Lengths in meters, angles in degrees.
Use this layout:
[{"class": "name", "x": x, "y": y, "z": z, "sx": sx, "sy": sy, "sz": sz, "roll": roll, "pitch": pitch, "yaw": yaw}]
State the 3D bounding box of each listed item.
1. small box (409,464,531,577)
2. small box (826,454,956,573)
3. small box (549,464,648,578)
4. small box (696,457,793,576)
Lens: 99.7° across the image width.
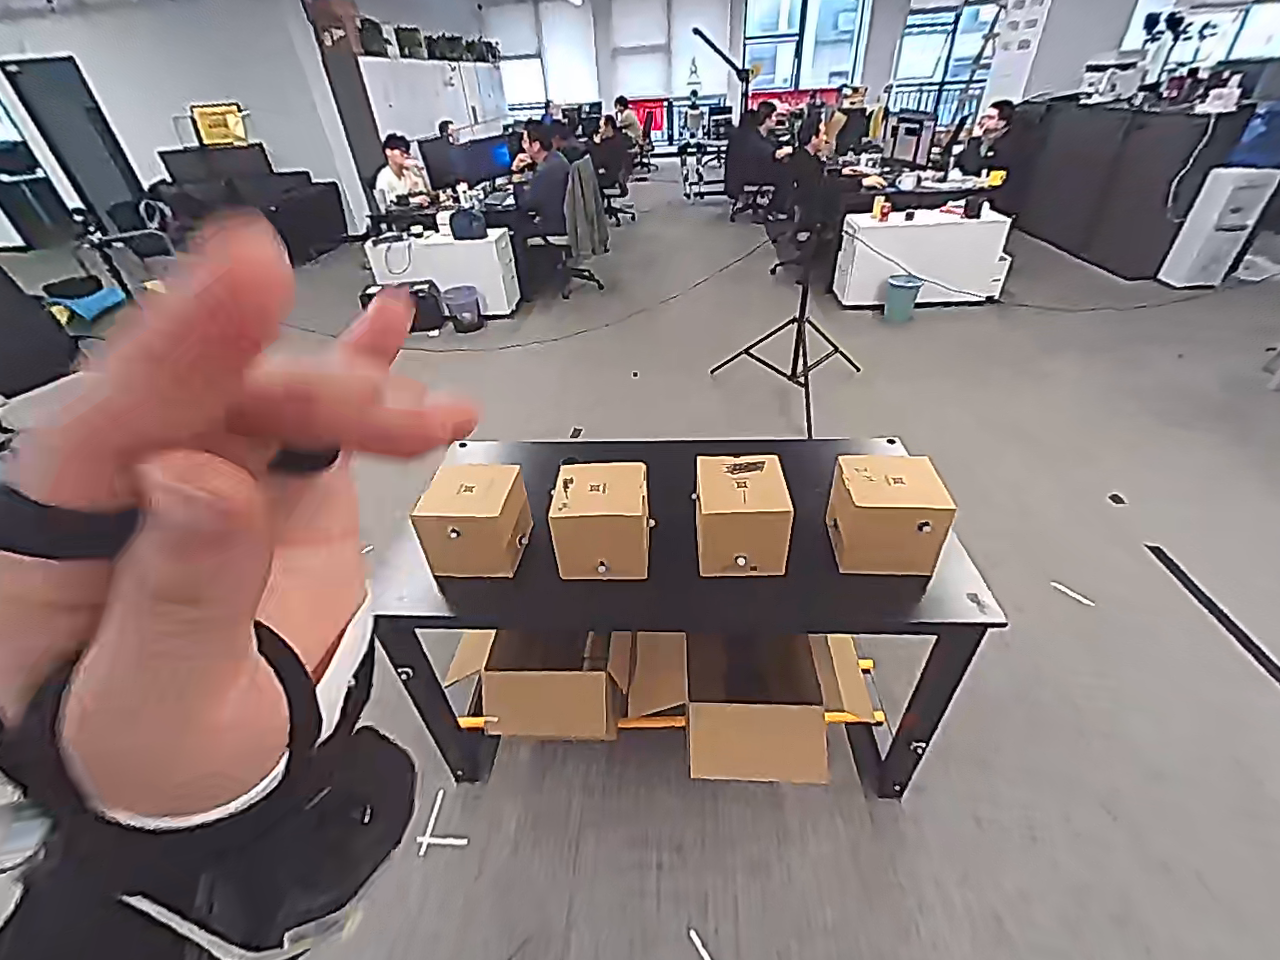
[{"class": "small box", "x": -0.336, "y": 0.083, "z": 1.108, "sx": 0.179, "sy": 0.176, "sz": 0.168, "roll": 1, "pitch": 38, "yaw": 4}, {"class": "small box", "x": 0.477, "y": 0.066, "z": 1.057, "sx": 0.179, "sy": 0.176, "sz": 0.168, "roll": 0, "pitch": 36, "yaw": 7}, {"class": "small box", "x": -0.074, "y": 0.083, "z": 1.086, "sx": 0.179, "sy": 0.176, "sz": 0.168, "roll": -1, "pitch": 36, "yaw": 3}, {"class": "small box", "x": 0.198, "y": 0.070, "z": 1.079, "sx": 0.168, "sy": 0.176, "sz": 0.179, "roll": -2, "pitch": 37, "yaw": 3}]
